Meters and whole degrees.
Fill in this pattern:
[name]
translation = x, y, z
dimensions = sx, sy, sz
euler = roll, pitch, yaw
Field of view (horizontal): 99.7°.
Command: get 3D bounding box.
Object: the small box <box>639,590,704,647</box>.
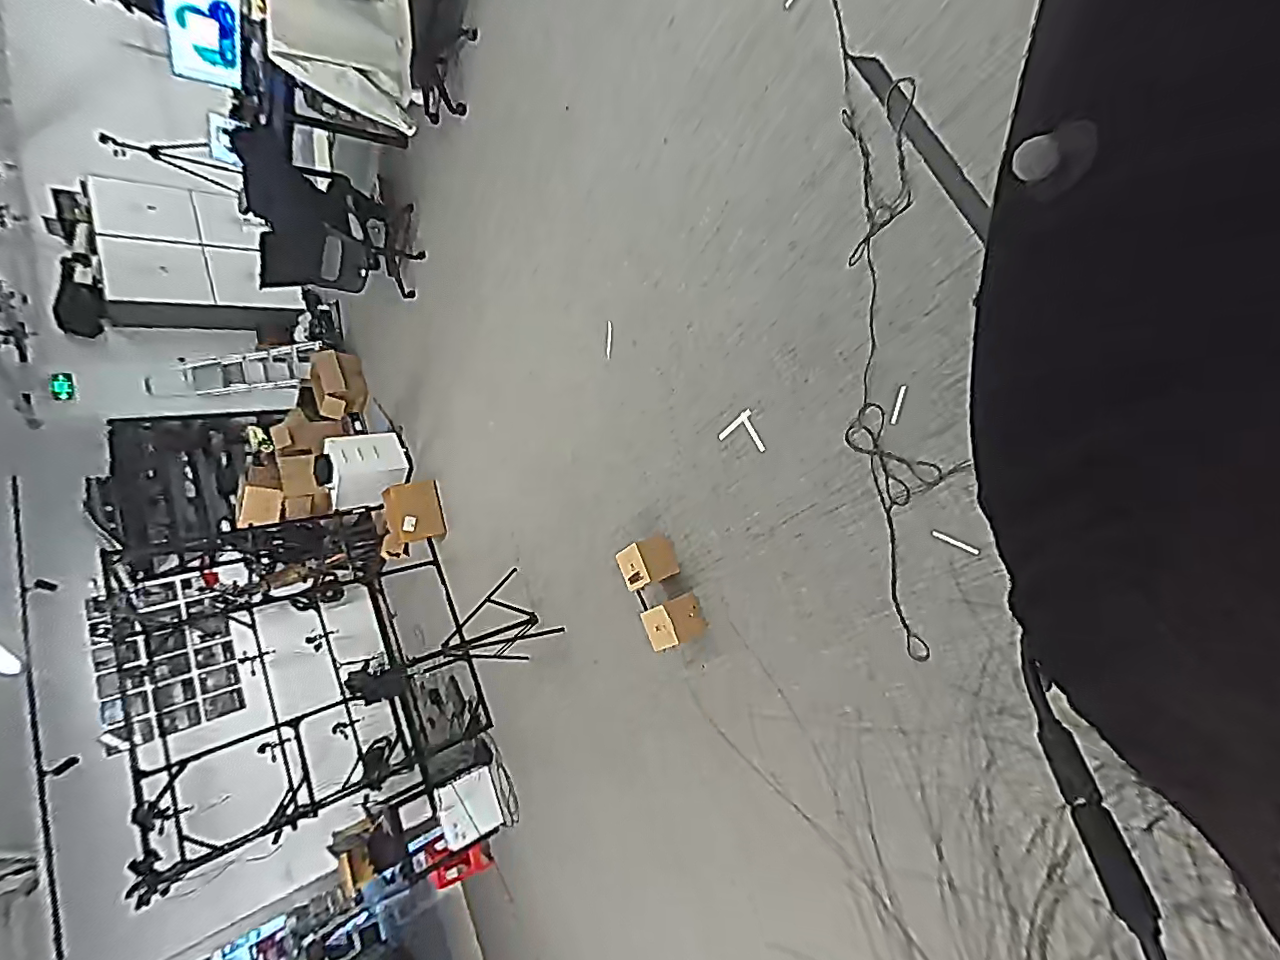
[small box]
translation = 0.132, 0.573, 2.236
dimensions = 0.179, 0.176, 0.168
euler = -37, 71, 47
